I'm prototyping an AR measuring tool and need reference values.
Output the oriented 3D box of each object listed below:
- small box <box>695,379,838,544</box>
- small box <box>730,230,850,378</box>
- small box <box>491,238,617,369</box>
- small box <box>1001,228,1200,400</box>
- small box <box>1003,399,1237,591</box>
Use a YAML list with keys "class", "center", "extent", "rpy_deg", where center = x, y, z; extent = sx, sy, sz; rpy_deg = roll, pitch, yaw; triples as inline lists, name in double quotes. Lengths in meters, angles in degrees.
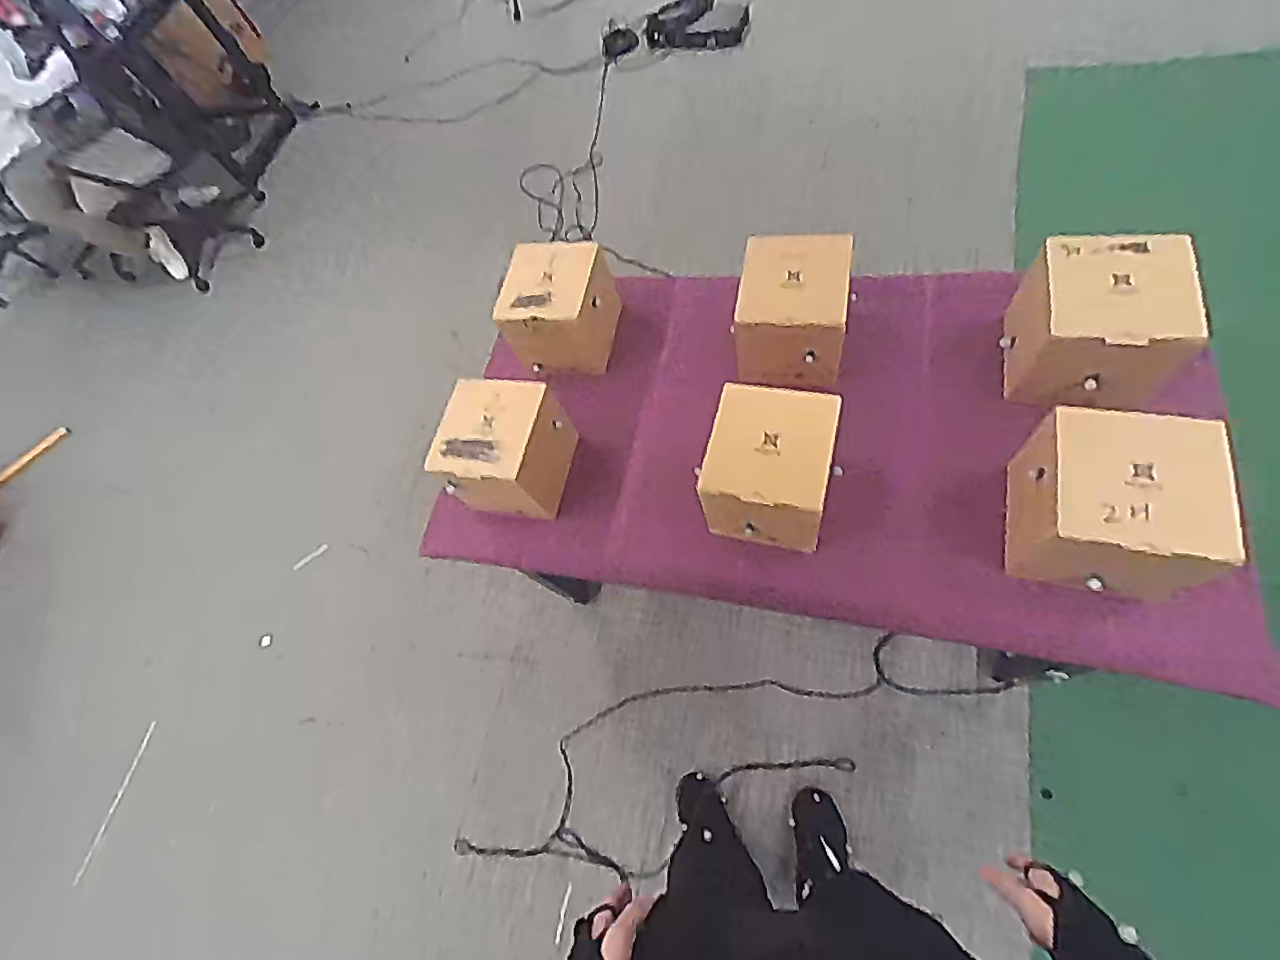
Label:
- class: "small box"
  center: [0.190, -0.024, 0.807]
  extent: [0.168, 0.176, 0.179]
  rpy_deg: [10, 69, 18]
- class: "small box"
  center: [0.252, -0.288, 0.909]
  extent: [0.168, 0.176, 0.179]
  rpy_deg: [6, 69, 17]
- class: "small box"
  center: [-0.152, -0.328, 1.029]
  extent: [0.168, 0.176, 0.179]
  rpy_deg: [5, 68, 16]
- class: "small box"
  center: [0.643, -0.231, 0.779]
  extent: [0.168, 0.176, 0.179]
  rpy_deg: [7, 70, 18]
- class: "small box"
  center: [0.579, 0.023, 0.680]
  extent: [0.168, 0.176, 0.179]
  rpy_deg: [9, 69, 20]
